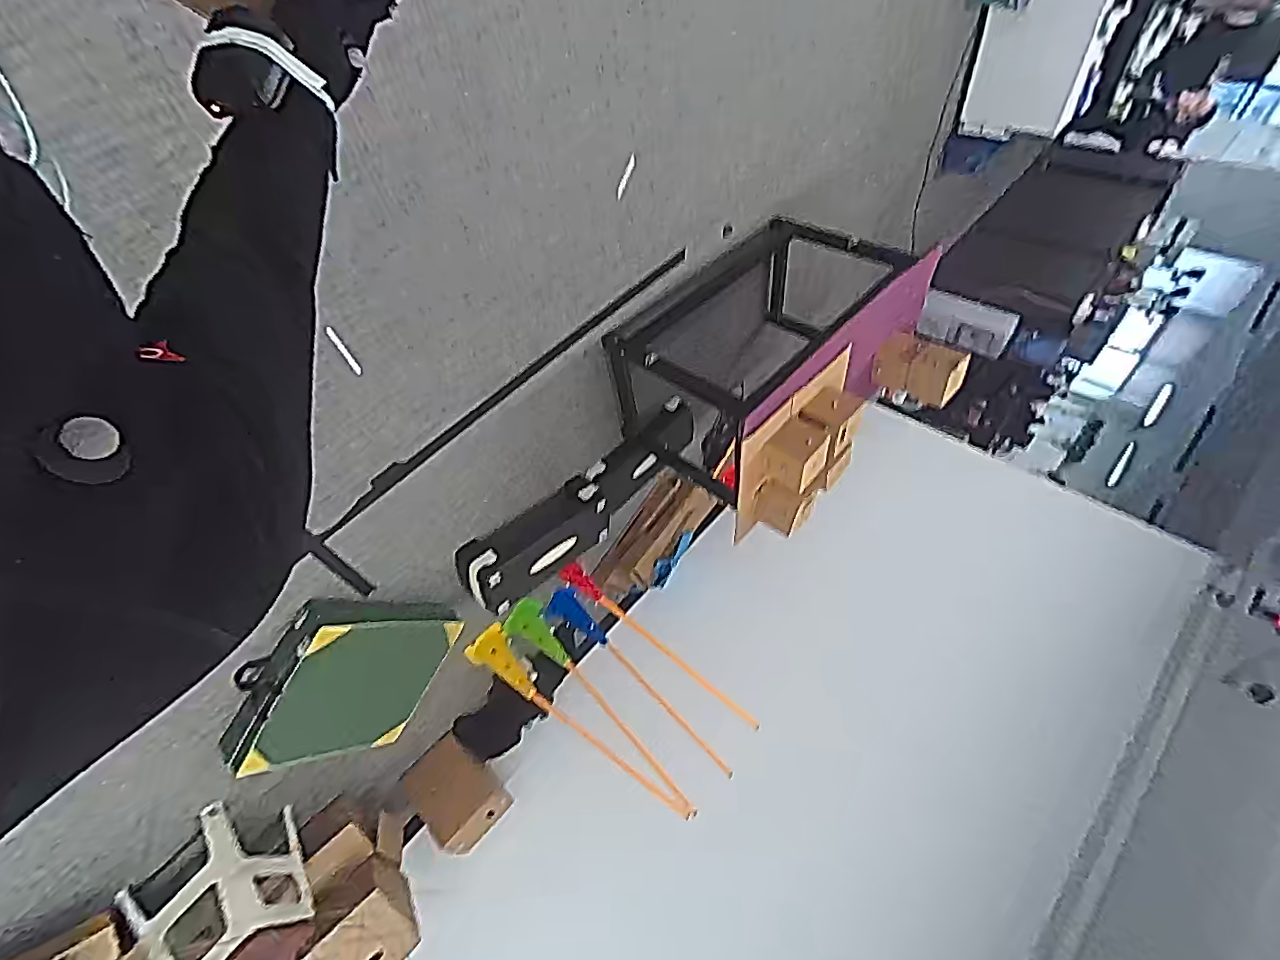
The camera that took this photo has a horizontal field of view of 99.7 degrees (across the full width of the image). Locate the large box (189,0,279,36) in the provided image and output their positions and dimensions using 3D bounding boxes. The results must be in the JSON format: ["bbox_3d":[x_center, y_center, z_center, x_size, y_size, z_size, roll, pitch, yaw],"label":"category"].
[{"bbox_3d":[-0.418,-0.593,0.308,0.320,0.320,0.408,-53,153,10],"label":"large box"}]
